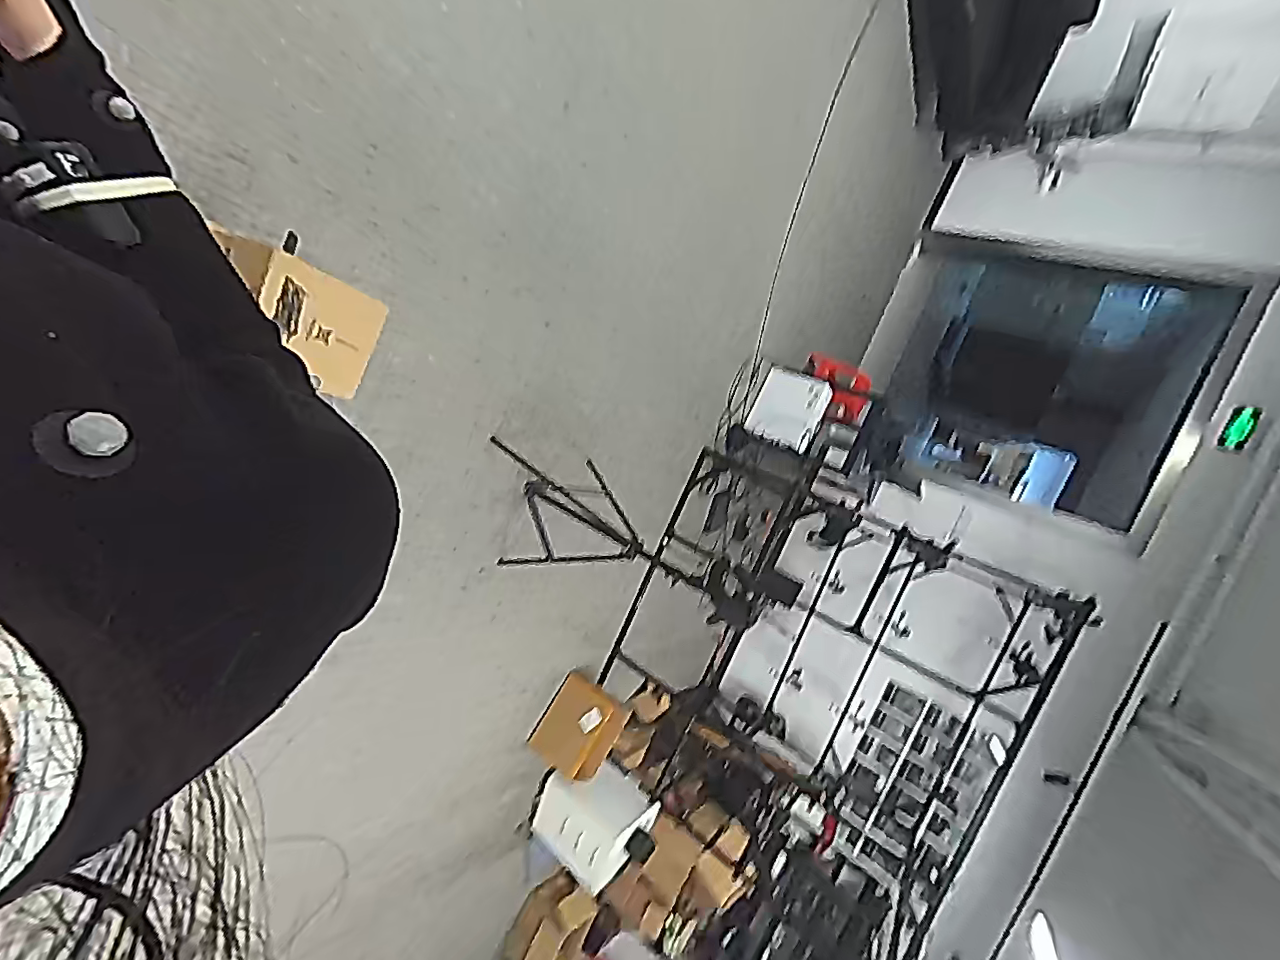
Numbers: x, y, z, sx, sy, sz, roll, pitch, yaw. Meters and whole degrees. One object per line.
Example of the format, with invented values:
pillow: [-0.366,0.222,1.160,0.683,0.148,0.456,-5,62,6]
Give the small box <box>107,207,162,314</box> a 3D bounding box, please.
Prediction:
small box: [-0.926,-0.418,1.088,0.168,0.176,0.179,20,95,-59]

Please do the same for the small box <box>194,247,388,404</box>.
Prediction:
small box: [-0.541,-0.239,0.838,0.179,0.176,0.168,21,93,-60]
